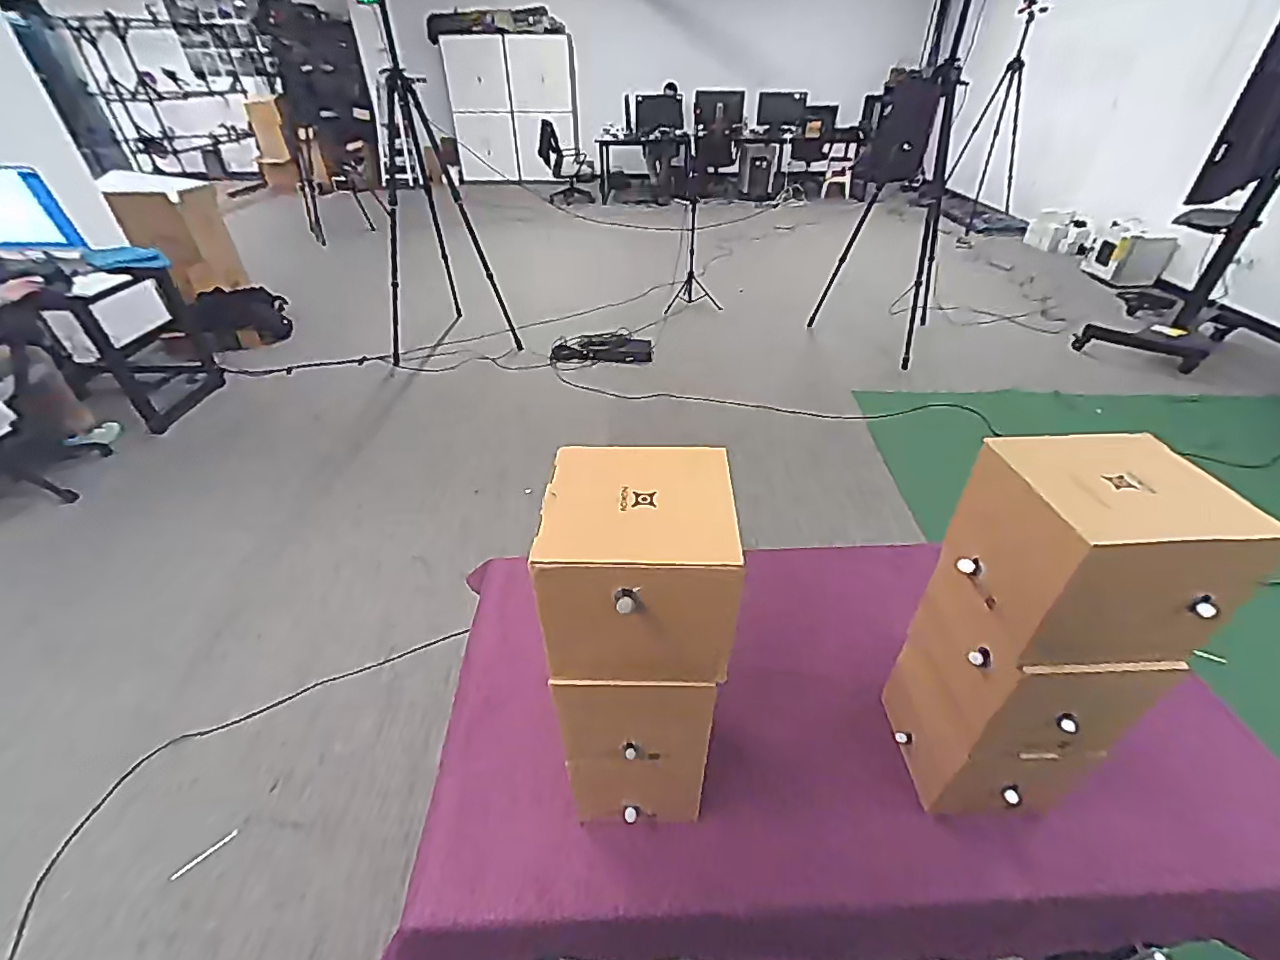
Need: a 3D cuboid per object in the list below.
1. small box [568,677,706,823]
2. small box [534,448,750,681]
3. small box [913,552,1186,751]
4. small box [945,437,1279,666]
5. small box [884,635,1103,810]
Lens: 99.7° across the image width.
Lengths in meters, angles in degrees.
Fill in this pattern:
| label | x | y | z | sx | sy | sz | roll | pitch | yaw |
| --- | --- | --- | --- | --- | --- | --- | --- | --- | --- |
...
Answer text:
| label | x | y | z | sx | sy | sz | roll | pitch | yaw |
| --- | --- | --- | --- | --- | --- | --- | --- | --- | --- |
| small box | -0.002 | 0.342 | 0.745 | 0.168 | 0.176 | 0.179 | 0 | 39 | 1 |
| small box | 0.005 | 0.084 | 0.543 | 0.179 | 0.176 | 0.168 | 0 | 39 | 2 |
| small box | 0.460 | 0.204 | 0.646 | 0.168 | 0.176 | 0.179 | -1 | 38 | 0 |
| small box | 0.453 | 0.072 | 0.550 | 0.179 | 0.176 | 0.168 | -2 | 37 | 0 |
| small box | 0.465 | 0.334 | 0.748 | 0.168 | 0.176 | 0.179 | 0 | 38 | 0 |
